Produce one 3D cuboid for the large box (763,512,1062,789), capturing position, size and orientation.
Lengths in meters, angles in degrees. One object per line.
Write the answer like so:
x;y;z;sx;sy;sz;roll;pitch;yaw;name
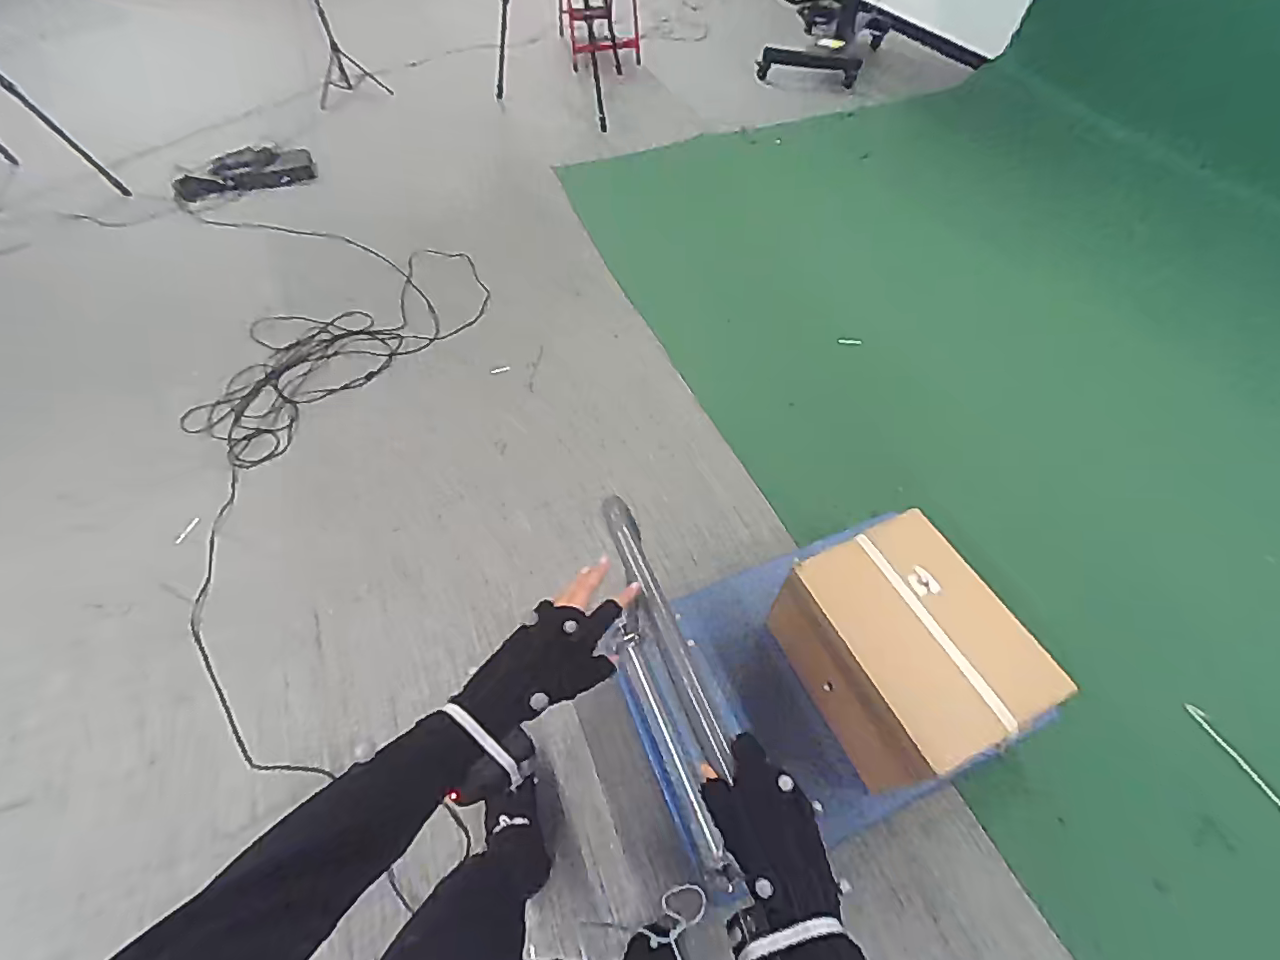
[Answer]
0.513;0.351;1.121;0.320;0.320;0.408;-21;57;-15;large box
